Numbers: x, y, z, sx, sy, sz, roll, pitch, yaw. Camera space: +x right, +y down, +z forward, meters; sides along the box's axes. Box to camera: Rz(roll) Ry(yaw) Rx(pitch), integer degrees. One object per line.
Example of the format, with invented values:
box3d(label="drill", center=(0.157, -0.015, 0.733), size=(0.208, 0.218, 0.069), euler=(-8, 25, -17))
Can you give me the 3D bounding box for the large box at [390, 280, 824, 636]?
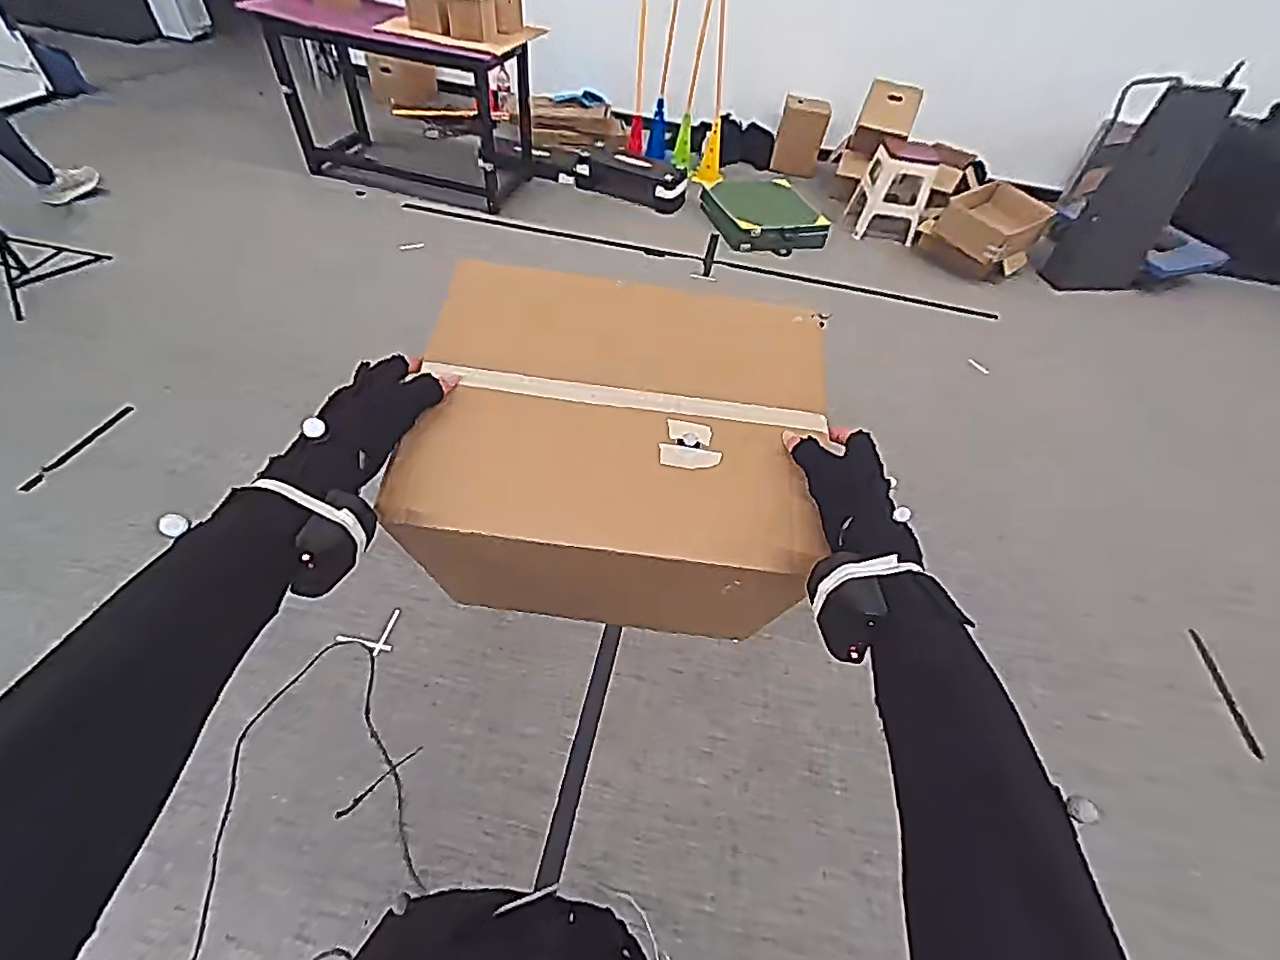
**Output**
box3d(label="large box", center=(-0.029, -0.004, 0.684), size=(0.408, 0.320, 0.320), euler=(8, 64, -2))
